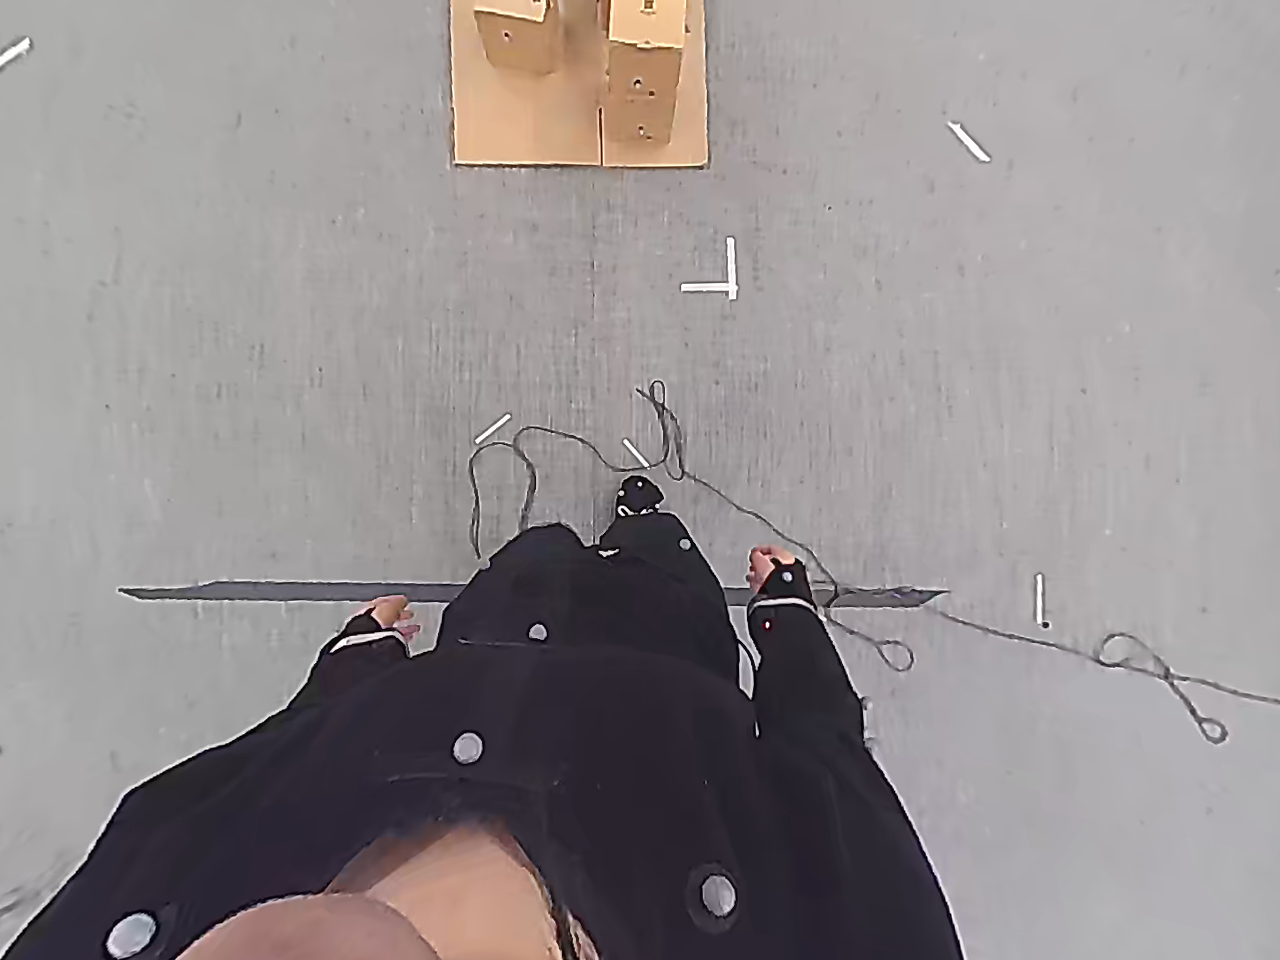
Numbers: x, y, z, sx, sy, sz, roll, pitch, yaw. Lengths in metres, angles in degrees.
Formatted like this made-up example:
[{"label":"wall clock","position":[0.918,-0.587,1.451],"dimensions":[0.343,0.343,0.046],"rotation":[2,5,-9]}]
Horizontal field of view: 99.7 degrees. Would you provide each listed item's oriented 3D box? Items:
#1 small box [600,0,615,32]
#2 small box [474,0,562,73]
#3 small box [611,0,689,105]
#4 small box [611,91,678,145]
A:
[{"label":"small box","position":[-0.018,-1.324,1.418],"dimensions":[0.179,0.176,0.168],"rotation":[-5,88,-3]},{"label":"small box","position":[-0.308,-1.200,1.397],"dimensions":[0.179,0.176,0.168],"rotation":[8,89,-1]},{"label":"small box","position":[0.019,-1.018,1.251],"dimensions":[0.168,0.176,0.179],"rotation":[3,90,-3]},{"label":"small box","position":[0.009,-1.016,1.413],"dimensions":[0.168,0.176,0.179],"rotation":[0,90,-2]}]
